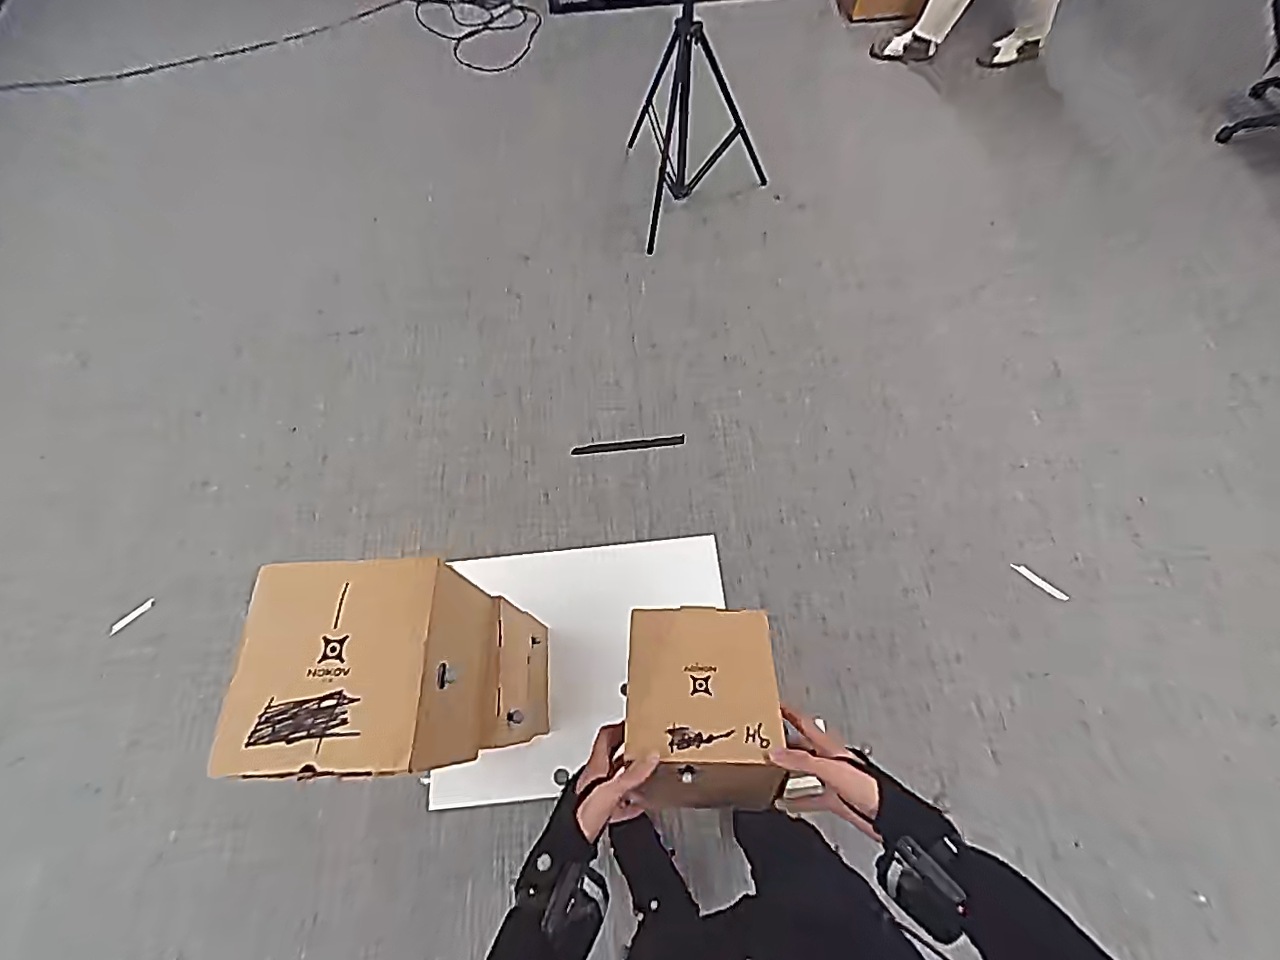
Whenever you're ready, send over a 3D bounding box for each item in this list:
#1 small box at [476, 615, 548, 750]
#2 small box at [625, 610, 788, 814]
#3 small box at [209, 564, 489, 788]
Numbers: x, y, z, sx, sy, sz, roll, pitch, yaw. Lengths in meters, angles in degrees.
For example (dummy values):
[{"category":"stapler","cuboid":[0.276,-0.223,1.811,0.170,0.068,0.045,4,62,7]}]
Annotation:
[{"category":"small box","cuboid":[-0.237,0.314,0.831,0.168,0.176,0.179,-5,66,0]},{"category":"small box","cuboid":[0.071,0.278,0.652,0.168,0.176,0.179,0,45,3]},{"category":"small box","cuboid":[-0.255,0.189,0.526,0.168,0.176,0.179,-2,66,1]}]
